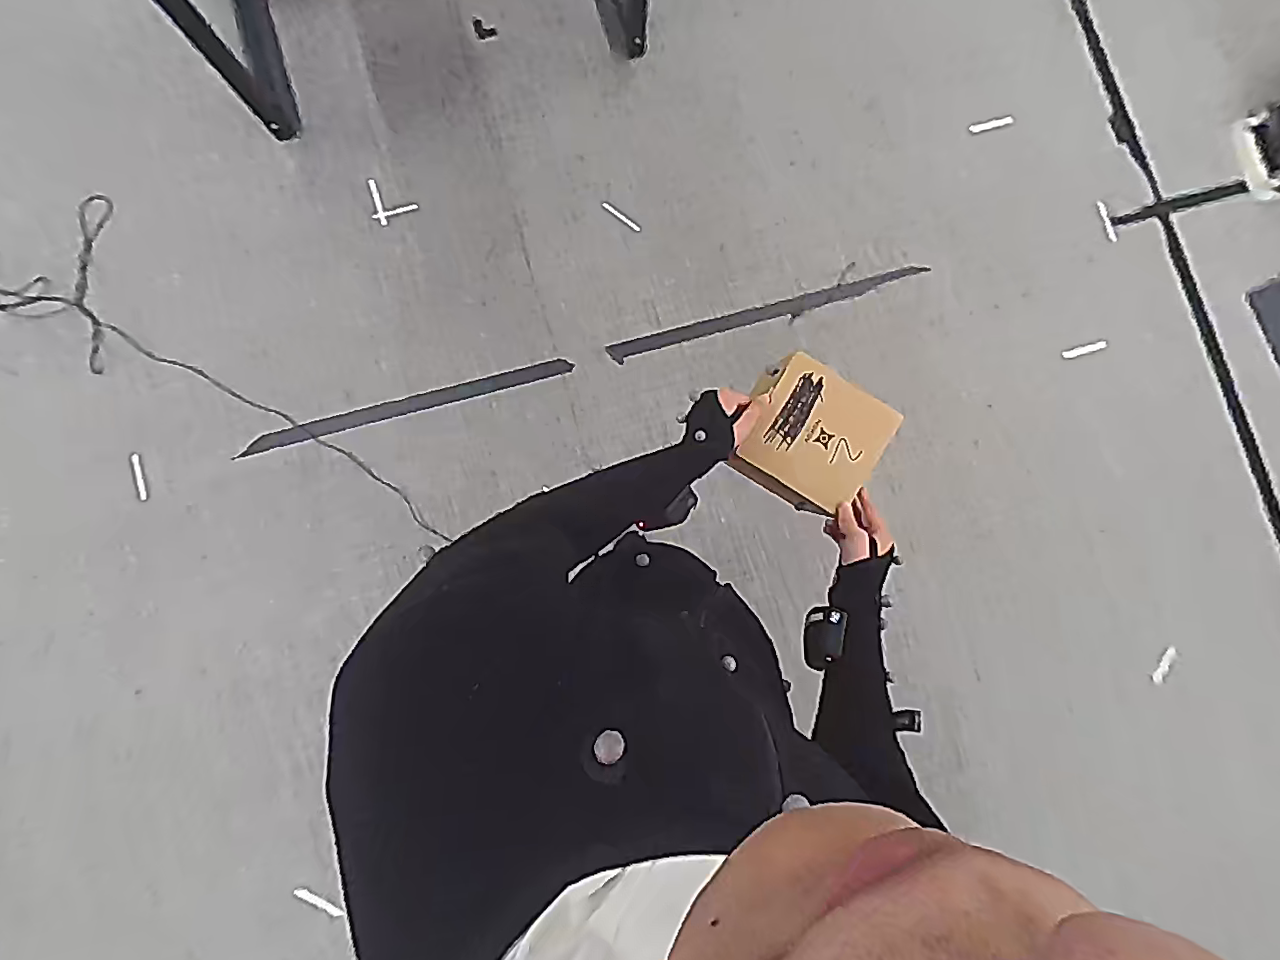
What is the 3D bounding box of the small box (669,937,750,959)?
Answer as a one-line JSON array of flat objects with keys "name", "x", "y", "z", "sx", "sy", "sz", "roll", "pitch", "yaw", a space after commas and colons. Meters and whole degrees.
[{"name": "small box", "x": 0.148, "y": 1.060, "z": 1.081, "sx": 0.168, "sy": 0.176, "sz": 0.179, "roll": 0, "pitch": 87, "yaw": -3}]
